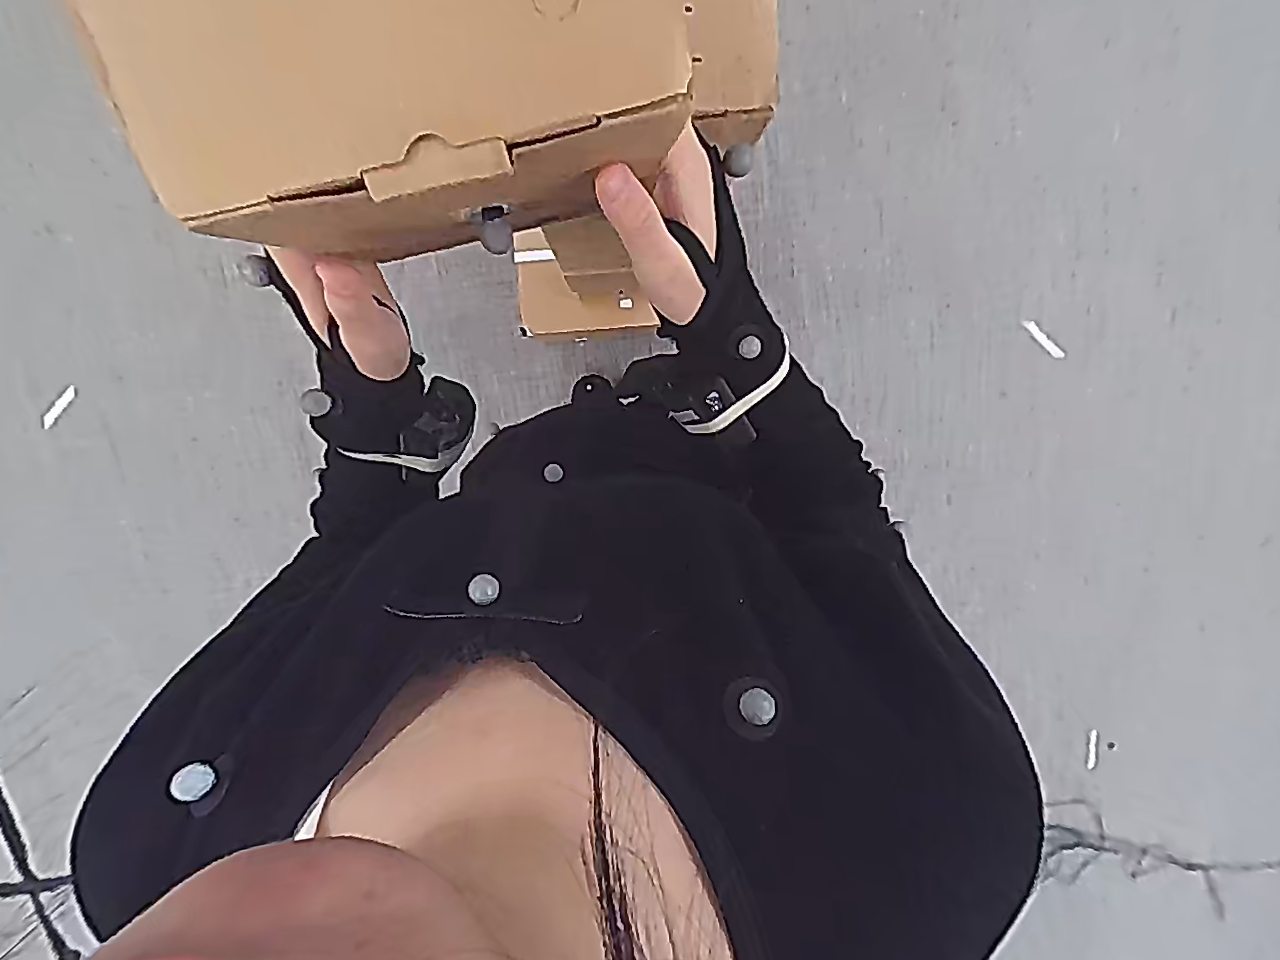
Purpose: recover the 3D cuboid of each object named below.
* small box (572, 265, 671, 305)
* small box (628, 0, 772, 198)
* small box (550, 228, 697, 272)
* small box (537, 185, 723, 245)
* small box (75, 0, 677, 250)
[{"bbox_3d":[-0.043,-0.434,1.025,0.179,0.176,0.168,-8,102,-3],"label":"small box"},{"bbox_3d":[-0.008,-0.312,0.383,0.168,0.176,0.179,-3,101,-2],"label":"small box"},{"bbox_3d":[-0.028,-0.373,0.702,0.179,0.176,0.168,-4,101,-2],"label":"small box"},{"bbox_3d":[-0.019,-0.342,0.544,0.179,0.176,0.168,-3,102,-2],"label":"small box"},{"bbox_3d":[-0.088,-0.201,0.218,0.168,0.176,0.179,-14,109,0],"label":"small box"}]
